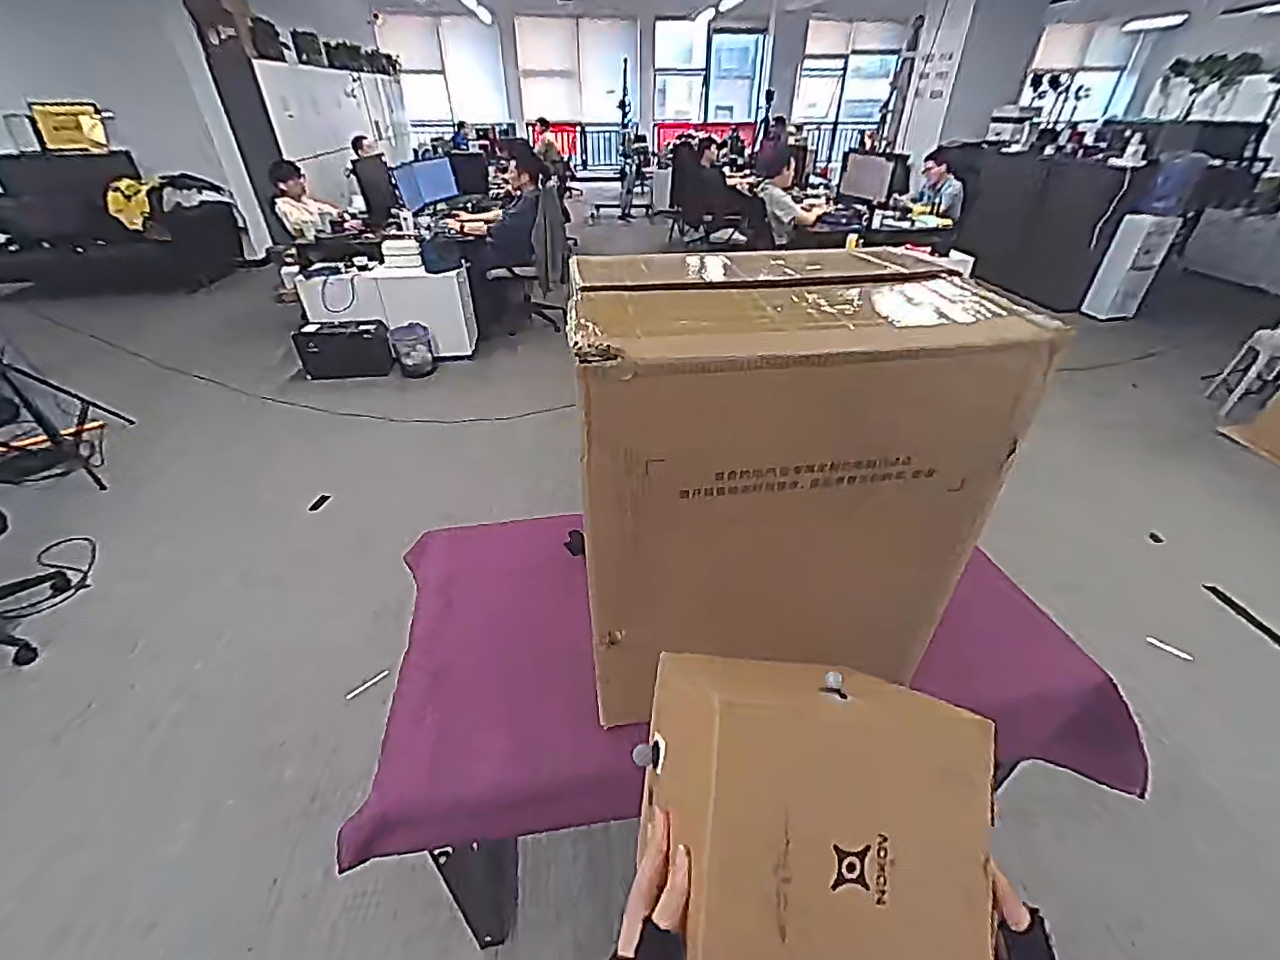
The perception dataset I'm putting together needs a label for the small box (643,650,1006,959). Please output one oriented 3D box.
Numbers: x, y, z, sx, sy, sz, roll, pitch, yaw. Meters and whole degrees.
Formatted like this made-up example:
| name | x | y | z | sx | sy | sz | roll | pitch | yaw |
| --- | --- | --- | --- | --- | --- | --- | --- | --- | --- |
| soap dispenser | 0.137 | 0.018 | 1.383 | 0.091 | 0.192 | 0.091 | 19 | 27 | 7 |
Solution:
| name | x | y | z | sx | sy | sz | roll | pitch | yaw |
| --- | --- | --- | --- | --- | --- | --- | --- | --- | --- |
| small box | 0.108 | 0.215 | 0.370 | 0.179 | 0.176 | 0.168 | 7 | 79 | -9 |
